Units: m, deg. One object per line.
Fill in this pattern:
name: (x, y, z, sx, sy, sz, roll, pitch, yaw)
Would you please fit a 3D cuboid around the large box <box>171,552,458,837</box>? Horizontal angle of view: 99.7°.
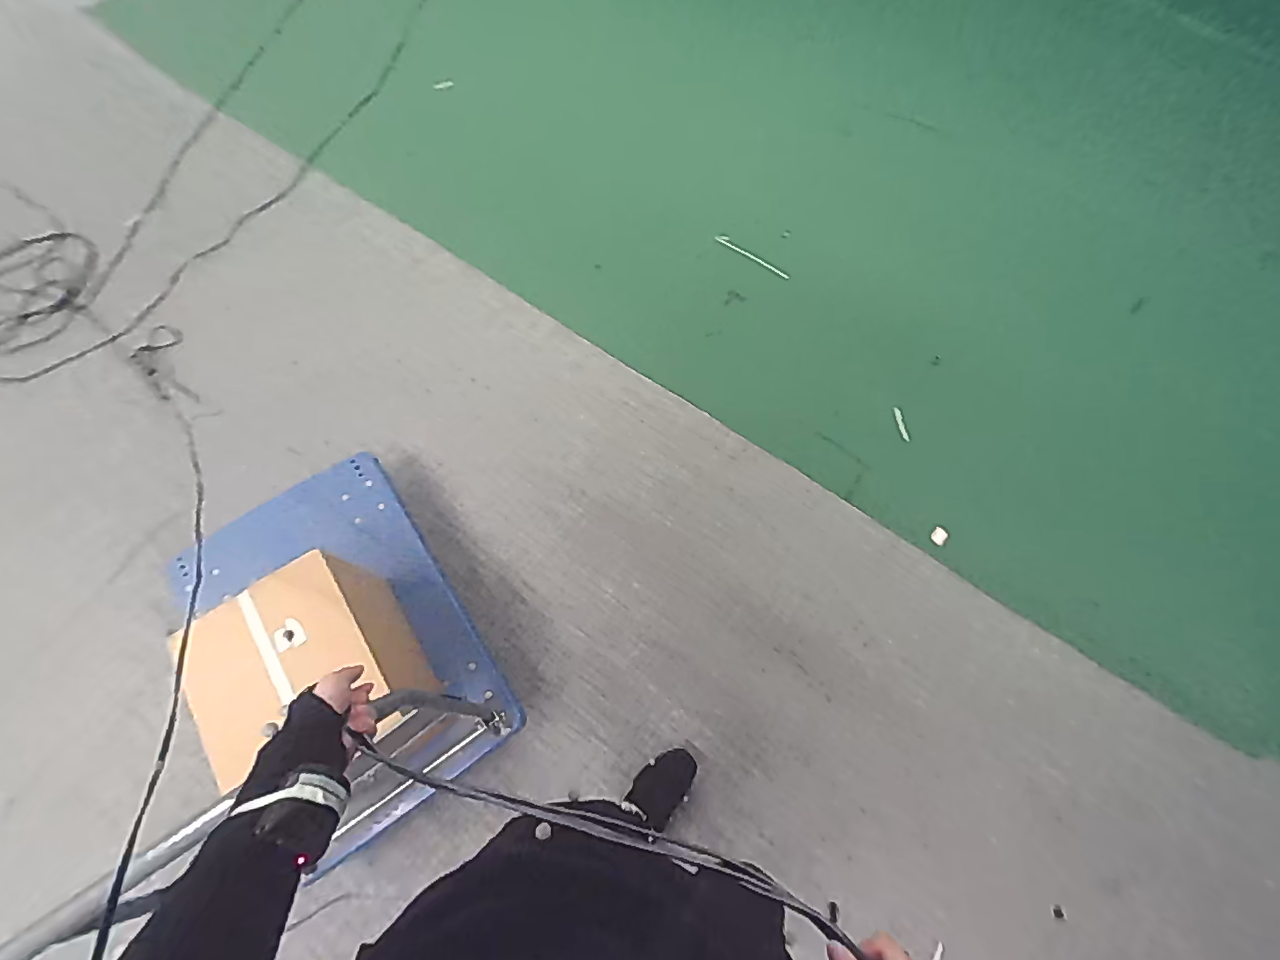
large box: (-0.648, 0.427, 1.127, 0.320, 0.320, 0.408, -33, 71, -13)
